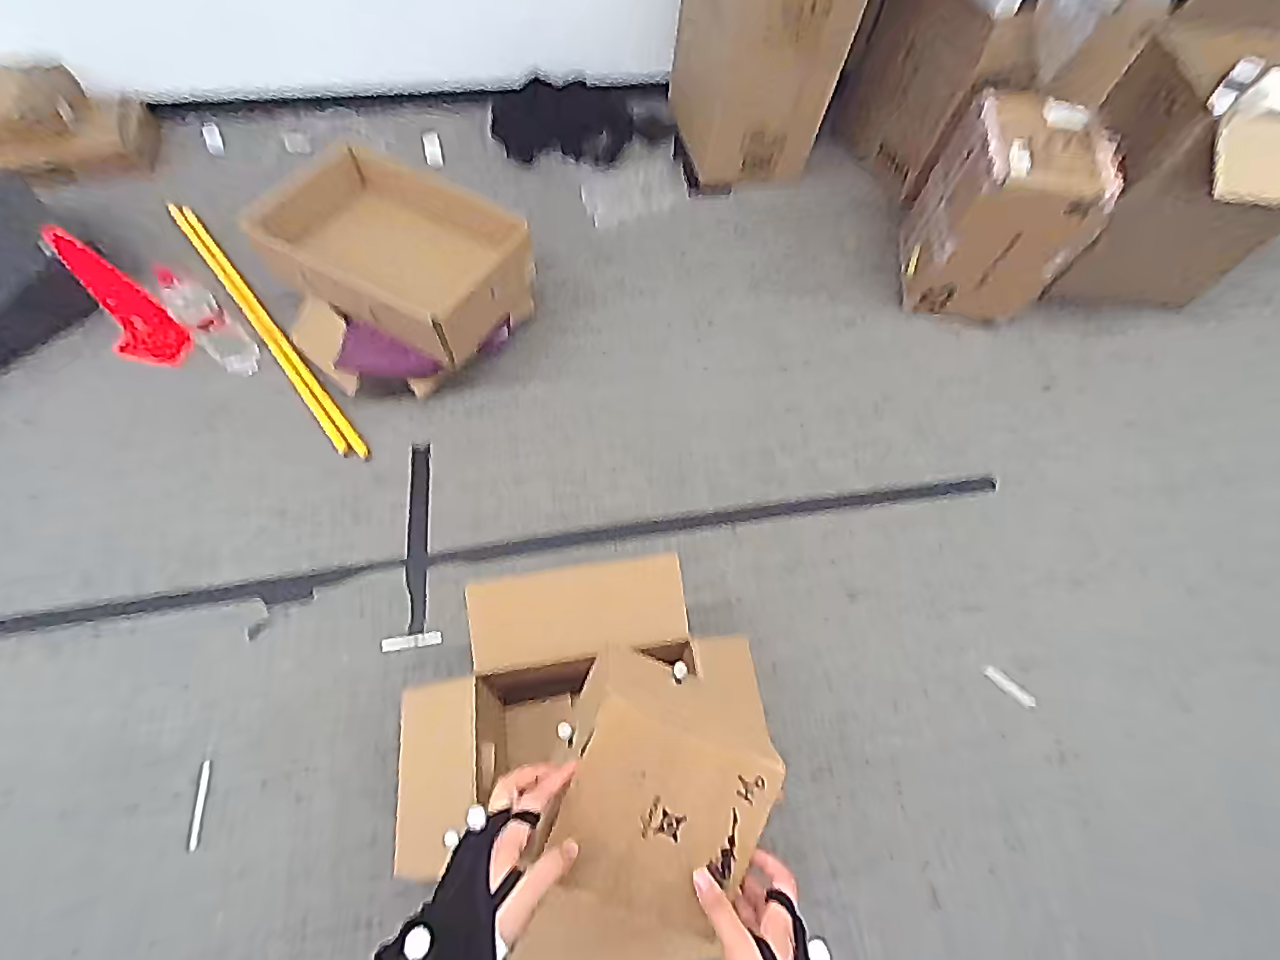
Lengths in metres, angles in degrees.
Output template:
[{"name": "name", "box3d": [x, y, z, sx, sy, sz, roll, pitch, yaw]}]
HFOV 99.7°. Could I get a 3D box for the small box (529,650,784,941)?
[{"name": "small box", "box3d": [0.011, 0.290, 0.543, 0.179, 0.176, 0.168, 23, 88, -3]}]
